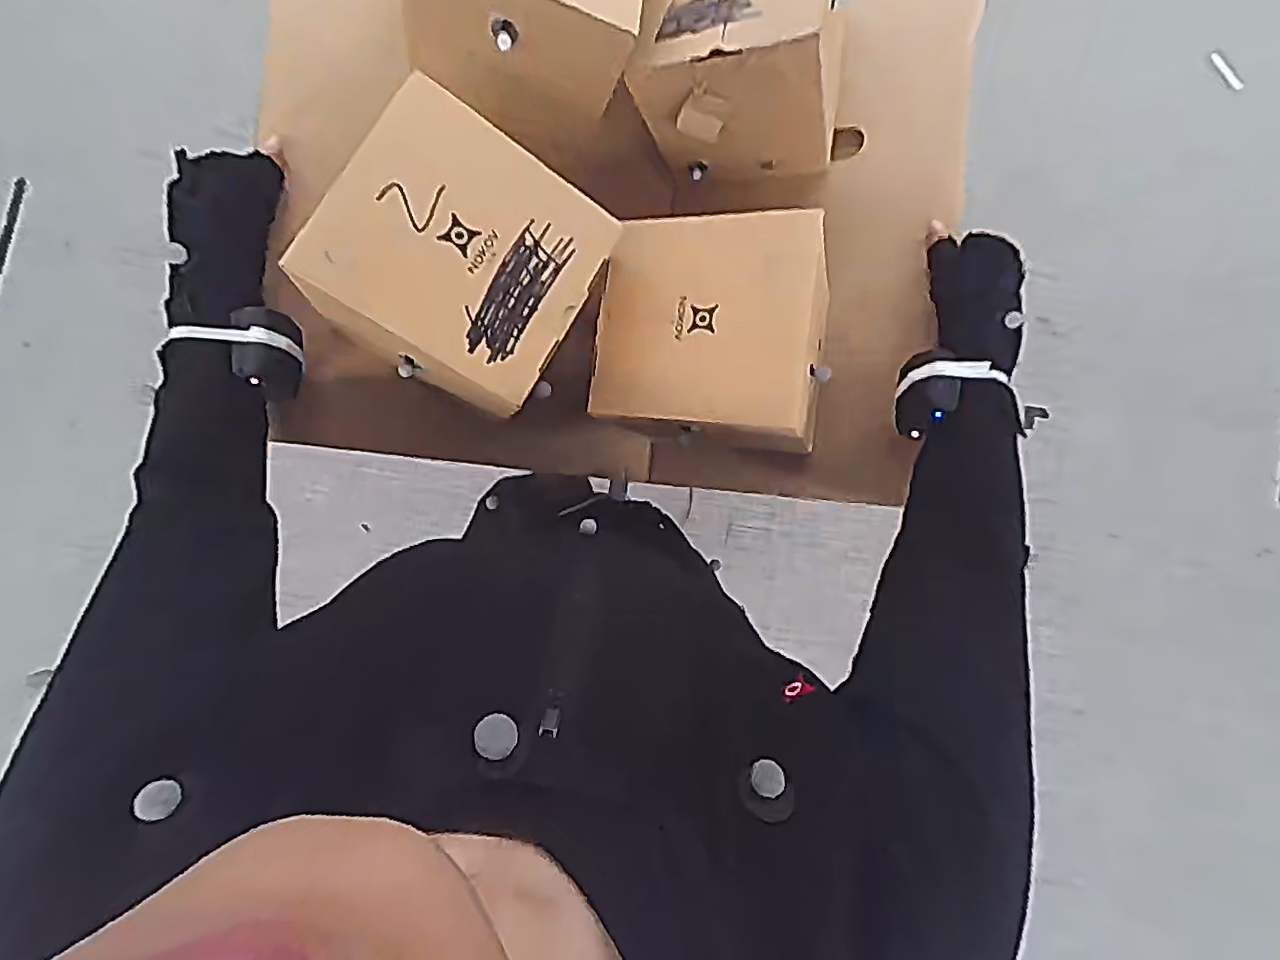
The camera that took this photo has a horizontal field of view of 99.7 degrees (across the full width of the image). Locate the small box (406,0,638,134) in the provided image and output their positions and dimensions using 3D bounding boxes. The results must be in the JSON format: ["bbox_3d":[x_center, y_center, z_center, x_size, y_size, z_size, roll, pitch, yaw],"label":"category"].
[{"bbox_3d":[-0.101,-0.444,0.467,0.179,0.176,0.168,8,89,-20],"label":"small box"}]
